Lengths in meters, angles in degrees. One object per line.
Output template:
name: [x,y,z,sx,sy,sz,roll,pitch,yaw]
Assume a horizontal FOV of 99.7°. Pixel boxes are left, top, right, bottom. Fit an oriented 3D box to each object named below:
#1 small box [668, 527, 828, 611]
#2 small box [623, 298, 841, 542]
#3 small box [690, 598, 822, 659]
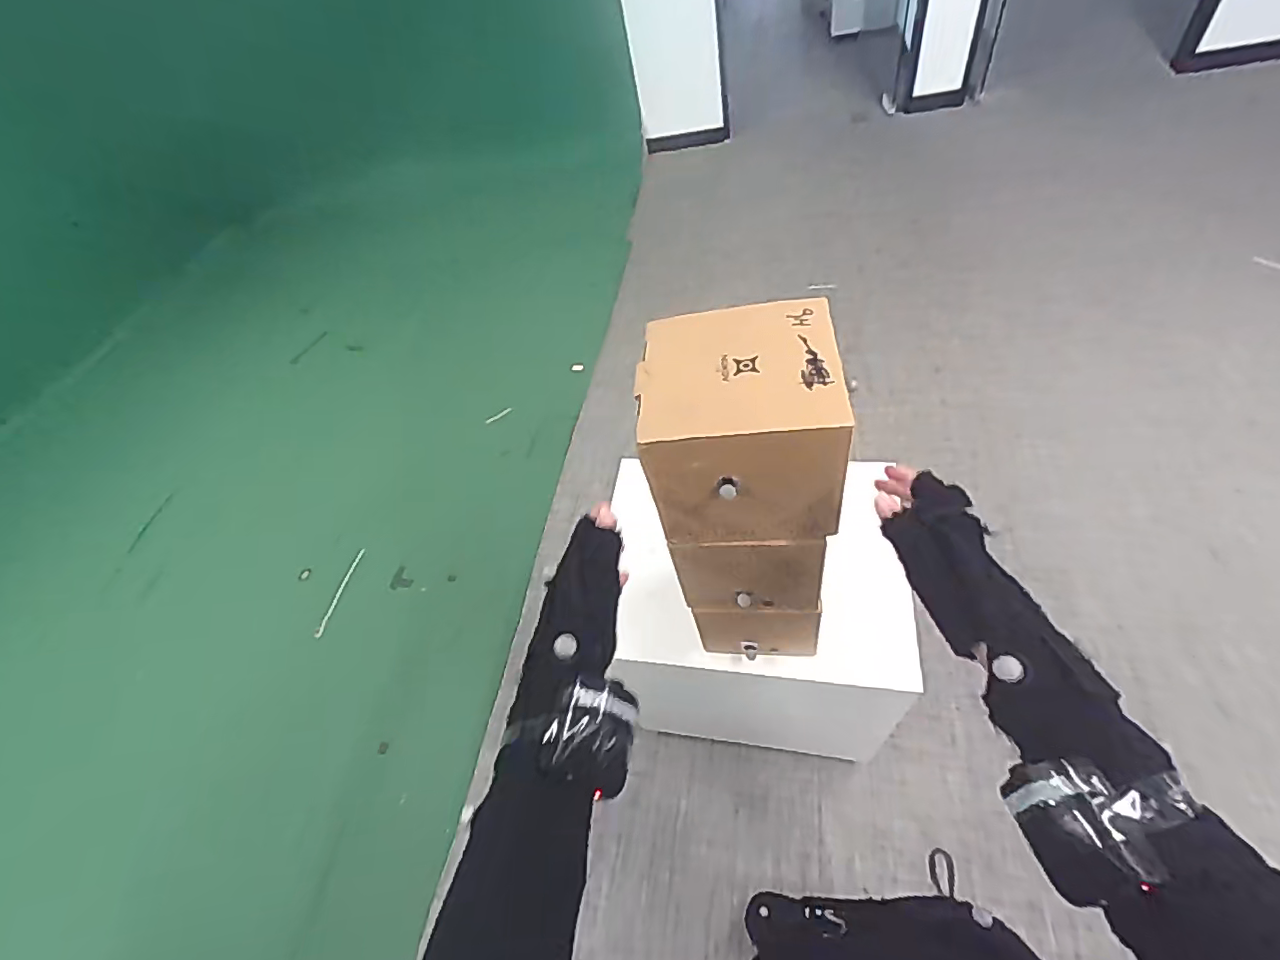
small box: [0.131,0.045,0.665,0.168,0.176,0.179,-5,51,13]
small box: [0.095,-0.049,0.536,0.179,0.176,0.168,-5,53,13]
small box: [0.170,0.145,0.789,0.168,0.176,0.179,-4,54,14]
